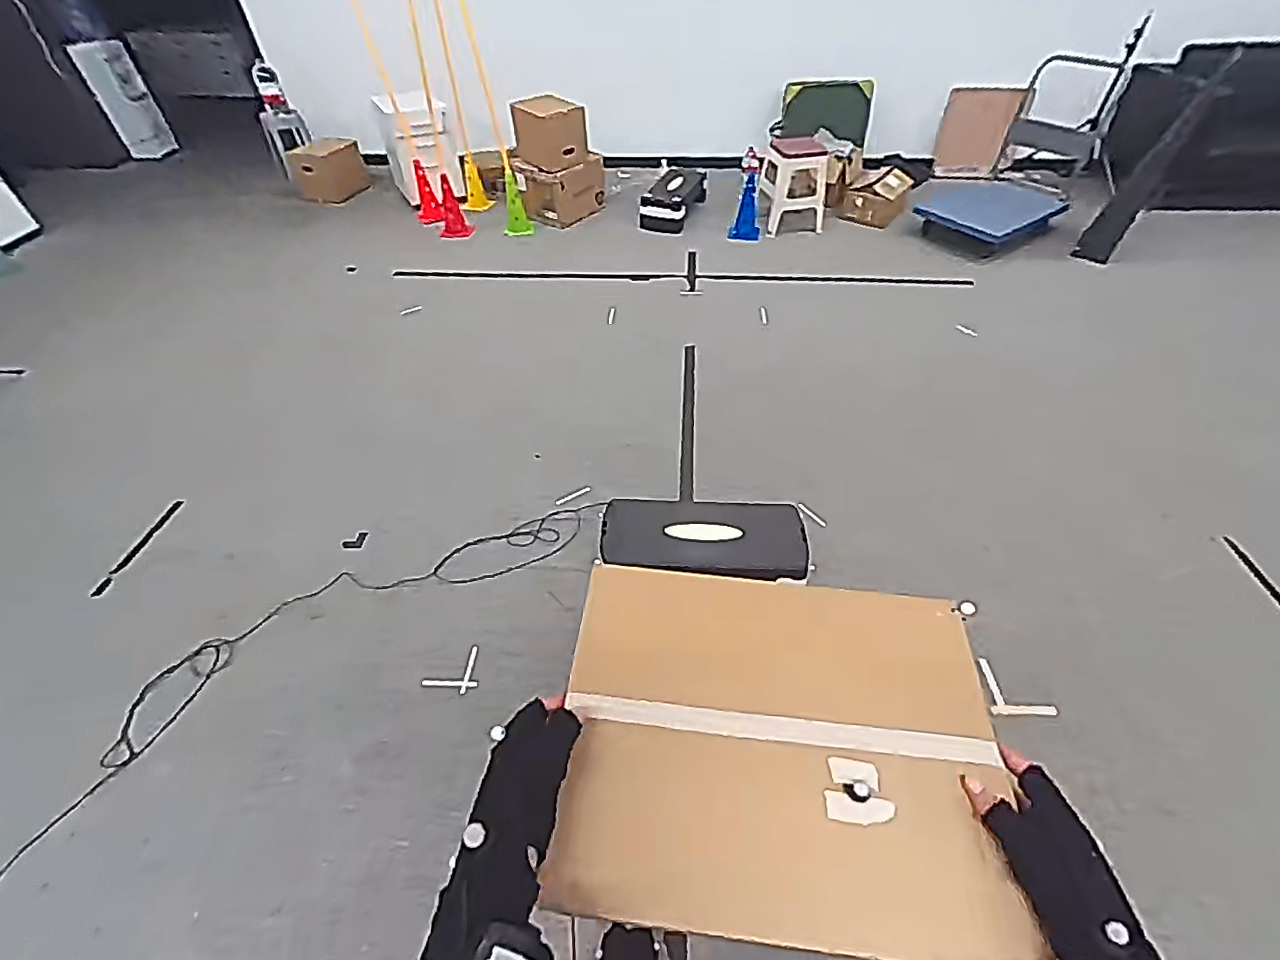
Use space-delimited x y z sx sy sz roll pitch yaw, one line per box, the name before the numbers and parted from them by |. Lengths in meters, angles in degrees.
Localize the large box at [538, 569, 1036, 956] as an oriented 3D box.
large box | 0.123 0.328 0.635 0.408 0.320 0.320 5 52 3
